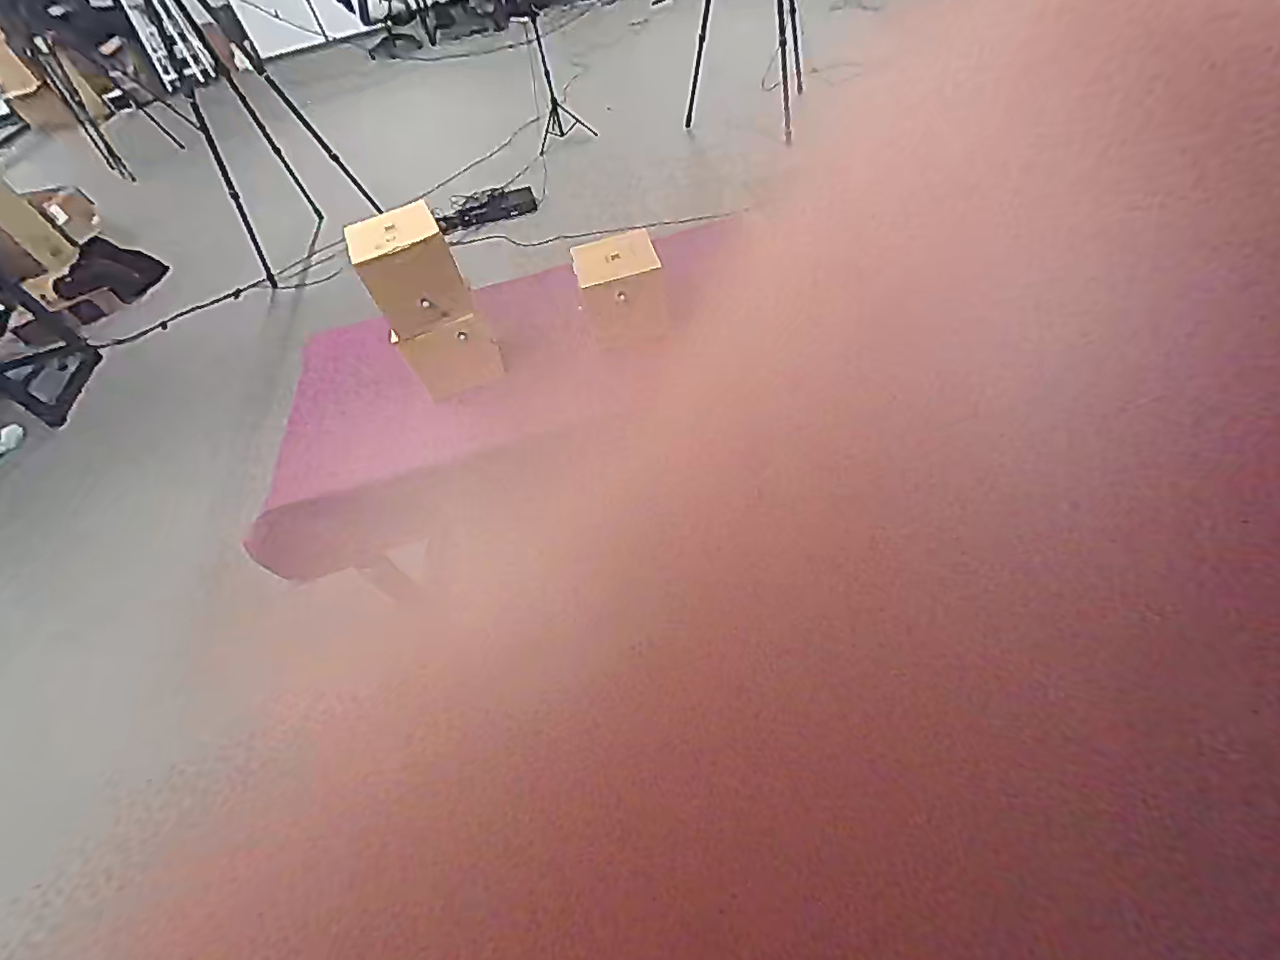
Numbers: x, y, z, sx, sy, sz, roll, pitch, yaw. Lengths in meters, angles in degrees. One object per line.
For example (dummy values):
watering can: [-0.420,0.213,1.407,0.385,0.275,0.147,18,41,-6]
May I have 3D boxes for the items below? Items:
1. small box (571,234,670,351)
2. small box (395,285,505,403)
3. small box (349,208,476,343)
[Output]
small box: [-0.041,-0.412,1.206,0.179,0.176,0.168,-15,51,0]
small box: [-0.421,-0.298,1.204,0.179,0.176,0.168,-19,51,-4]
small box: [-0.452,-0.407,1.083,0.168,0.176,0.179,-26,51,-8]
